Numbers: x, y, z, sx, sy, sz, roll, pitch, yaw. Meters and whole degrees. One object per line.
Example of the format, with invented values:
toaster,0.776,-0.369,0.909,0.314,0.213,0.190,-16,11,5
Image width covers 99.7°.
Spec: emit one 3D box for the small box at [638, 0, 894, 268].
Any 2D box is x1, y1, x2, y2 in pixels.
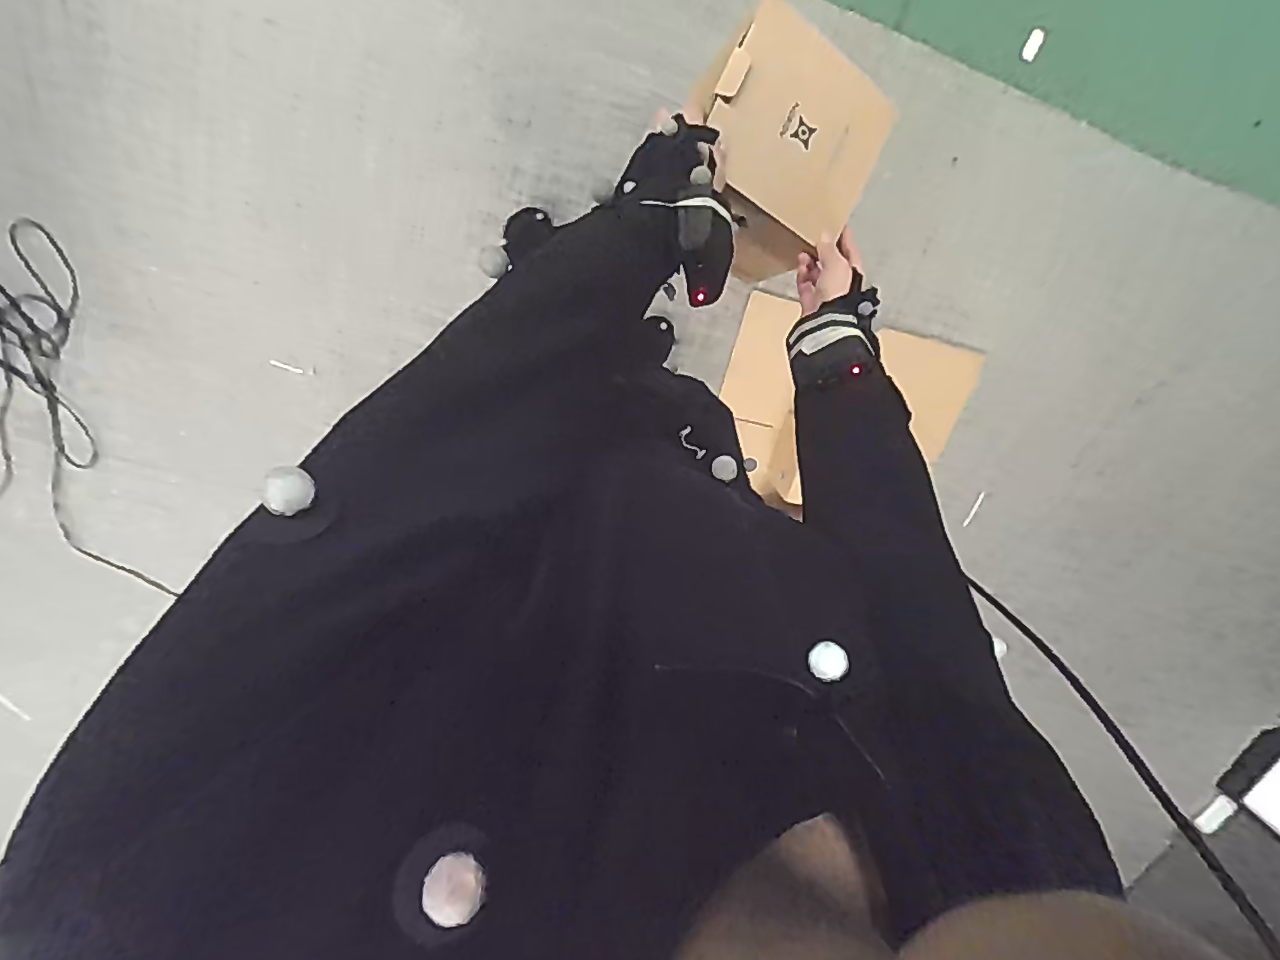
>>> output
small box,0.119,-0.351,0.580,0.179,0.176,0.168,24,93,-21
